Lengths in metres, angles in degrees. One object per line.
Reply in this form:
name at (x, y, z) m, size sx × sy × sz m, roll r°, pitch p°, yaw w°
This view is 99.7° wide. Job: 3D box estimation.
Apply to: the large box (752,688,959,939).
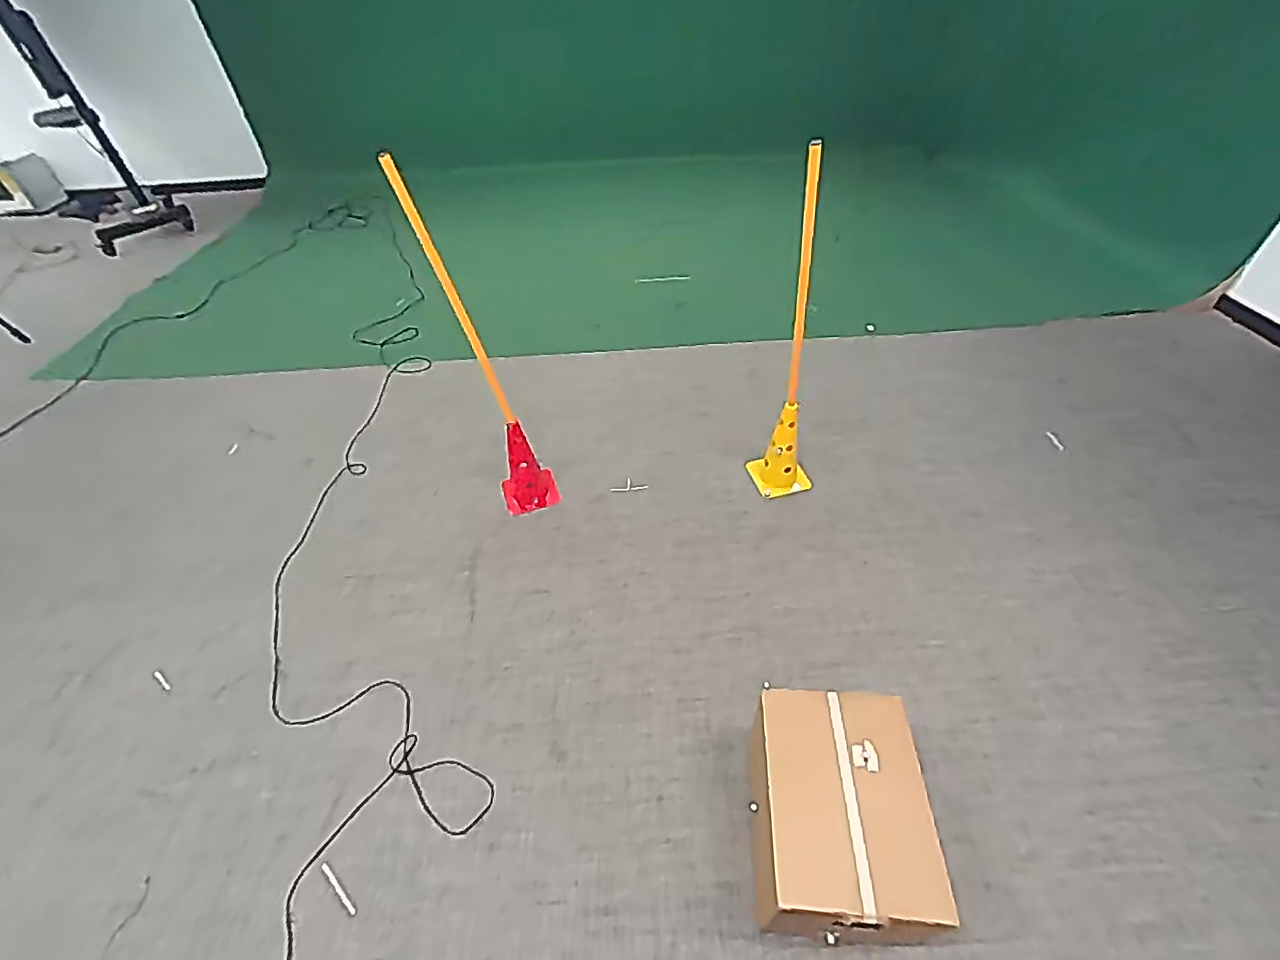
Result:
large box at (0.426, 0.725, 1.190) m, size 0.320 × 0.320 × 0.408 m, roll 2°, pitch 44°, yaw 5°
